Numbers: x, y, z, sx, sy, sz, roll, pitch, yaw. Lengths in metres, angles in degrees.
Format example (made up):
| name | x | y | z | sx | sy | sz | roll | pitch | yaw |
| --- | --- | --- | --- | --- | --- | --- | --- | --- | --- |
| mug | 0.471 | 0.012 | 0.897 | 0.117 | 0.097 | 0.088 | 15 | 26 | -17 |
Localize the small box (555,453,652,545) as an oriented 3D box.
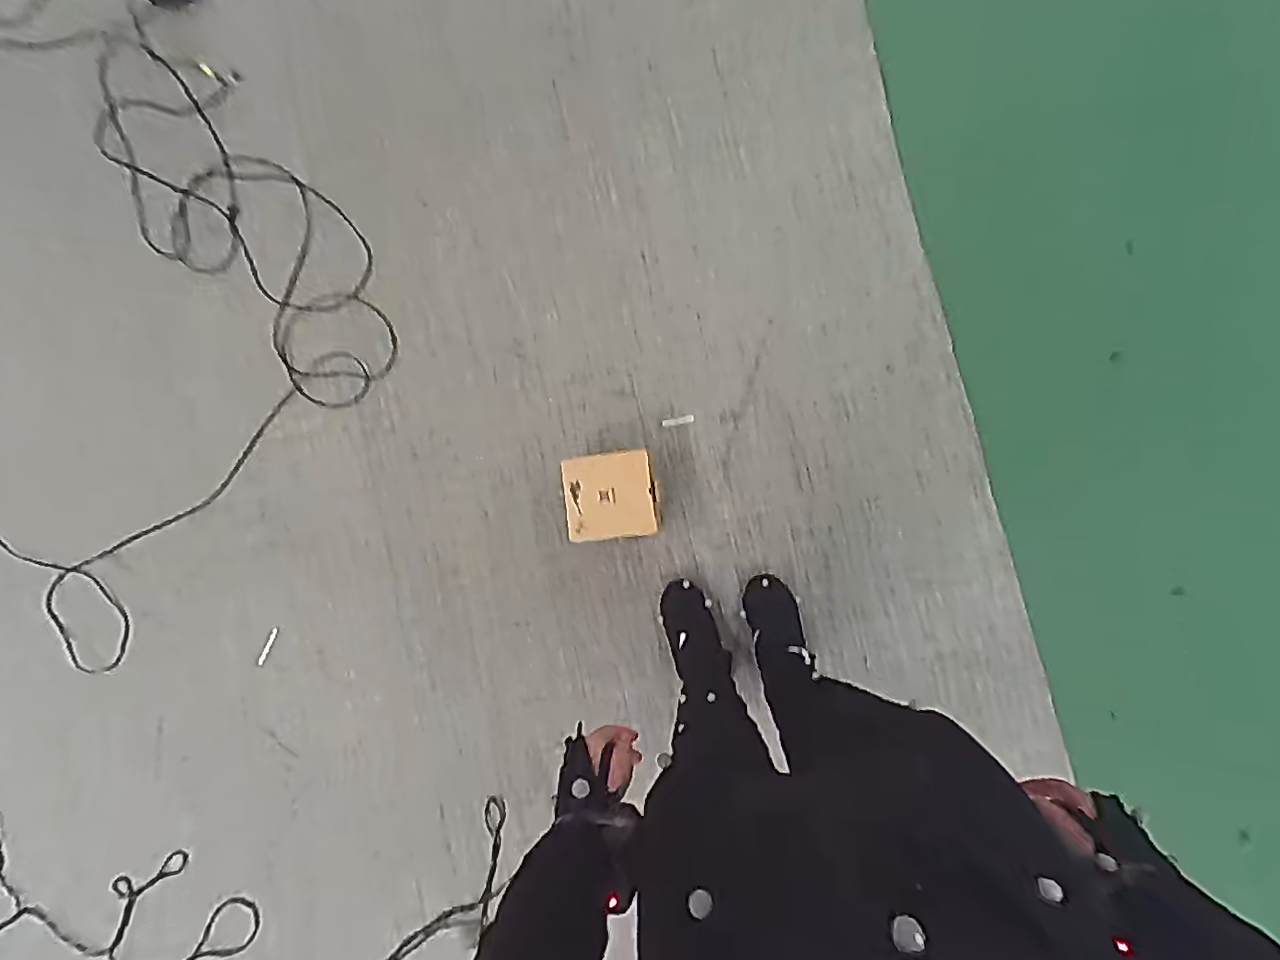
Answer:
| name | x | y | z | sx | sy | sz | roll | pitch | yaw |
| --- | --- | --- | --- | --- | --- | --- | --- | --- | --- |
| small box | -0.068 | 0.037 | 1.131 | 0.179 | 0.176 | 0.168 | -7 | 88 | 3 |
